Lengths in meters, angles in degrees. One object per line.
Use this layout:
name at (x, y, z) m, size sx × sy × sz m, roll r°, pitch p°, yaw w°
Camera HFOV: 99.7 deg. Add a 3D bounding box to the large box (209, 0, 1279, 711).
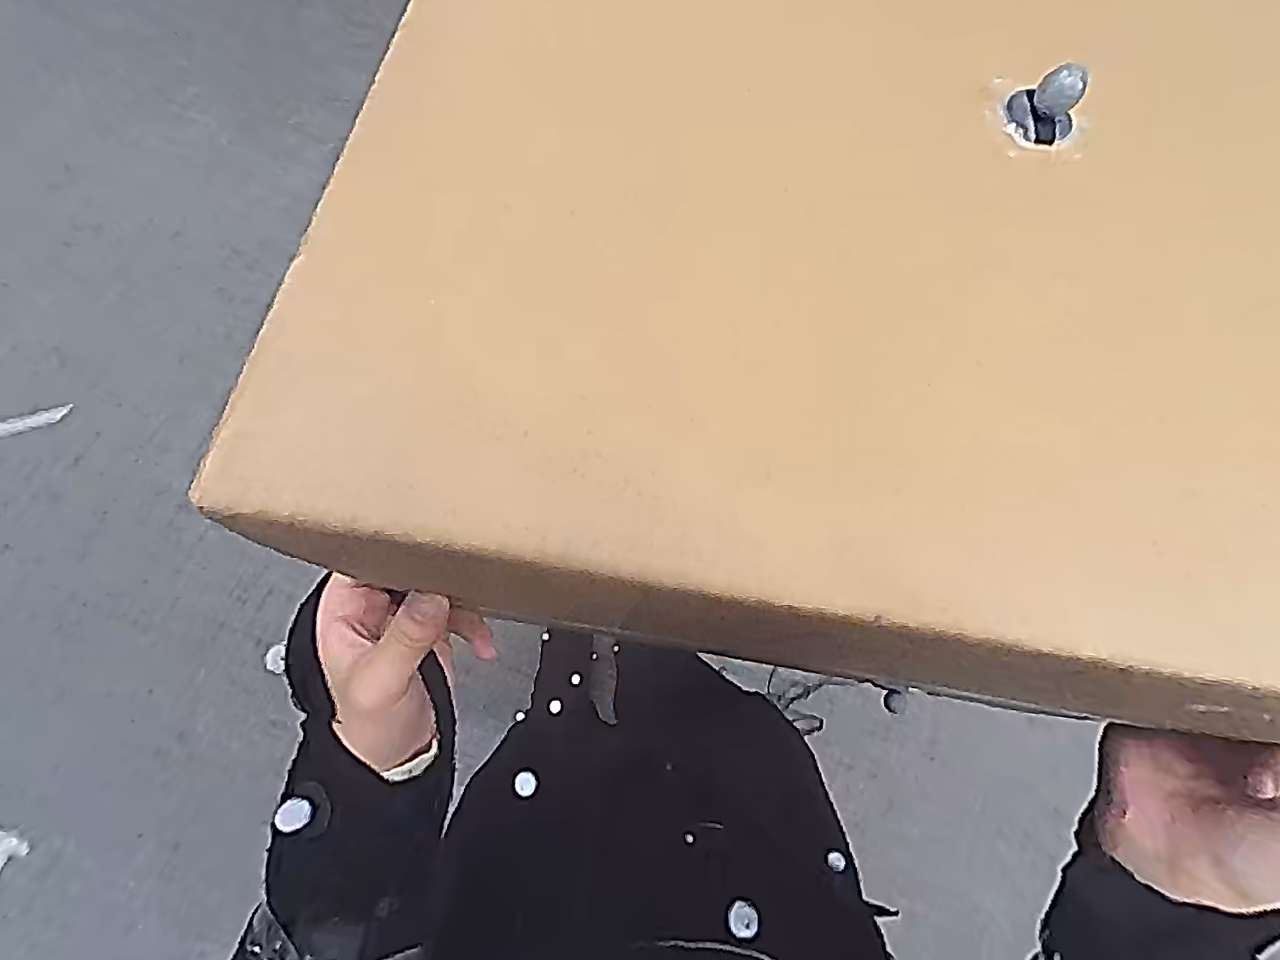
large box at (0.102, -0.065, 0.314) m, size 0.408 × 0.320 × 0.320 m, roll 8°, pitch 72°, yaw -1°
